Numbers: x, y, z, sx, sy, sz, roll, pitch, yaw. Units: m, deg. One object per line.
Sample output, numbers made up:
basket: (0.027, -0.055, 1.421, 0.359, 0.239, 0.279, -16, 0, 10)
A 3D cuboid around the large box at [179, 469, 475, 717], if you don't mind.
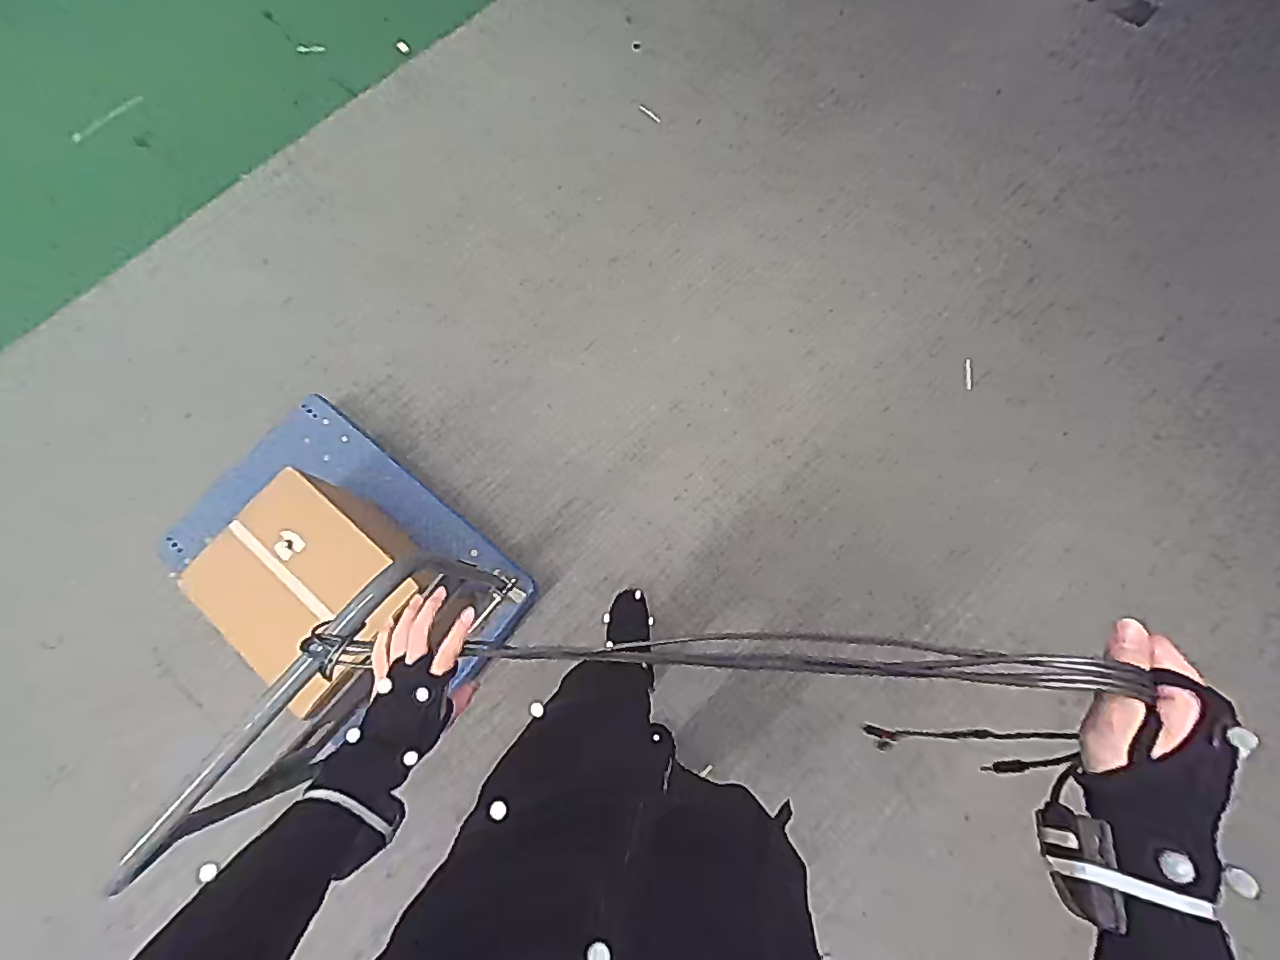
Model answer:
large box: (-0.652, 0.246, 1.189, 0.408, 0.320, 0.320, 38, 79, 14)
